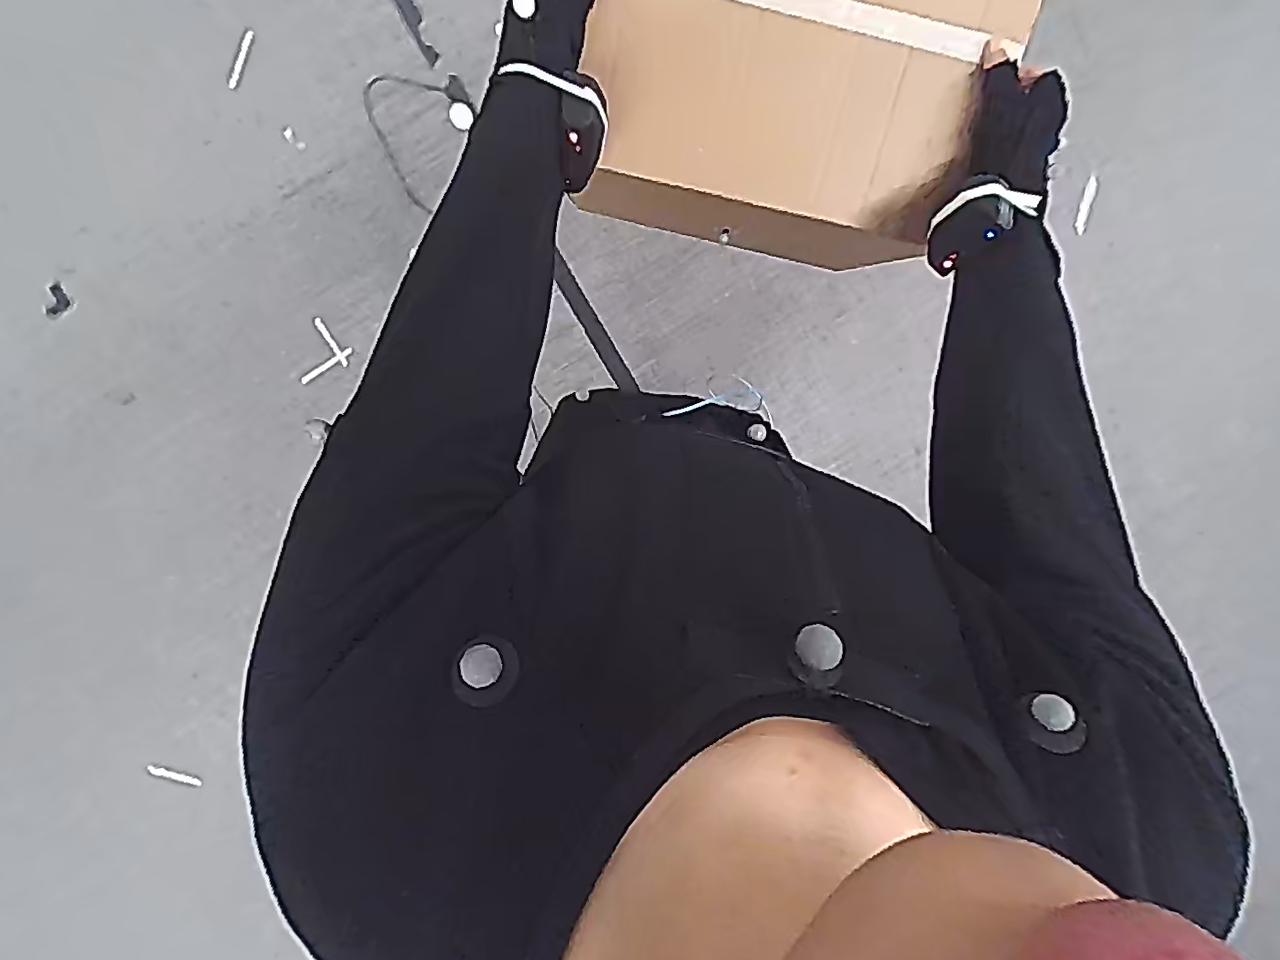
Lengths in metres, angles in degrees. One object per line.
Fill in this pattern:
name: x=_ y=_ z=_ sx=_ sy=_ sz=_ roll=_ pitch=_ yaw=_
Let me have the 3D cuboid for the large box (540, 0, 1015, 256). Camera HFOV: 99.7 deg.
large box: x=0.127 y=-0.461 z=0.617 sx=0.408 sy=0.320 sz=0.320 roll=10 pitch=107 yaw=-4
